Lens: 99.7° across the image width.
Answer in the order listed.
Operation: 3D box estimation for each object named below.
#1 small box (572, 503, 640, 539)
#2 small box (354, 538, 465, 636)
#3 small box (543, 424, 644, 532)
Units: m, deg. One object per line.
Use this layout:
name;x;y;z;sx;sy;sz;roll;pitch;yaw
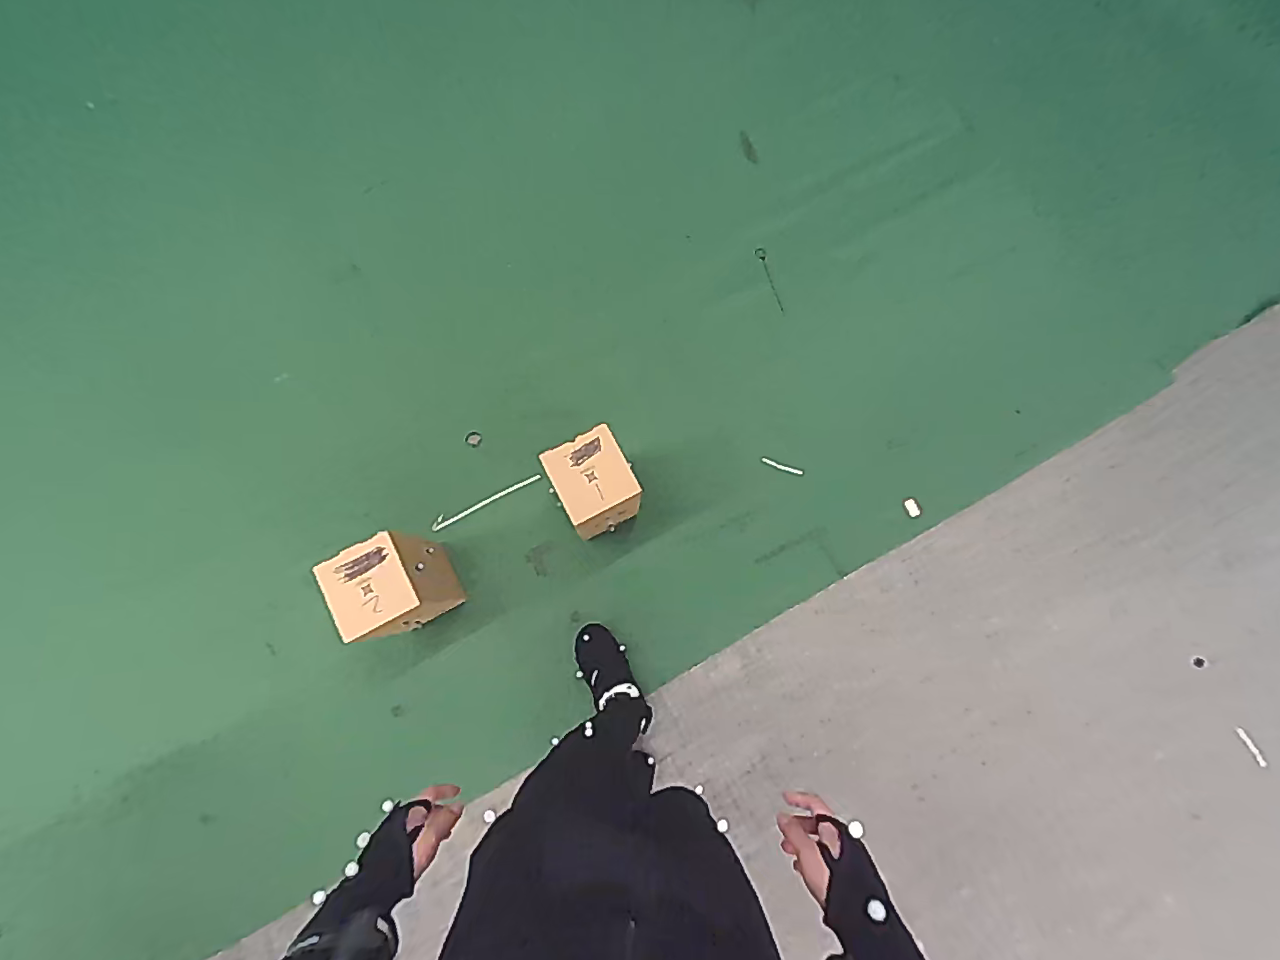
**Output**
small box;-0.114;0.036;1.396;0.168;0.176;0.179;-26;81;-7
small box;-0.559;0.261;1.335;0.168;0.176;0.179;-28;80;-7
small box;-0.106;0.002;1.236;0.168;0.176;0.179;-27;81;-8
